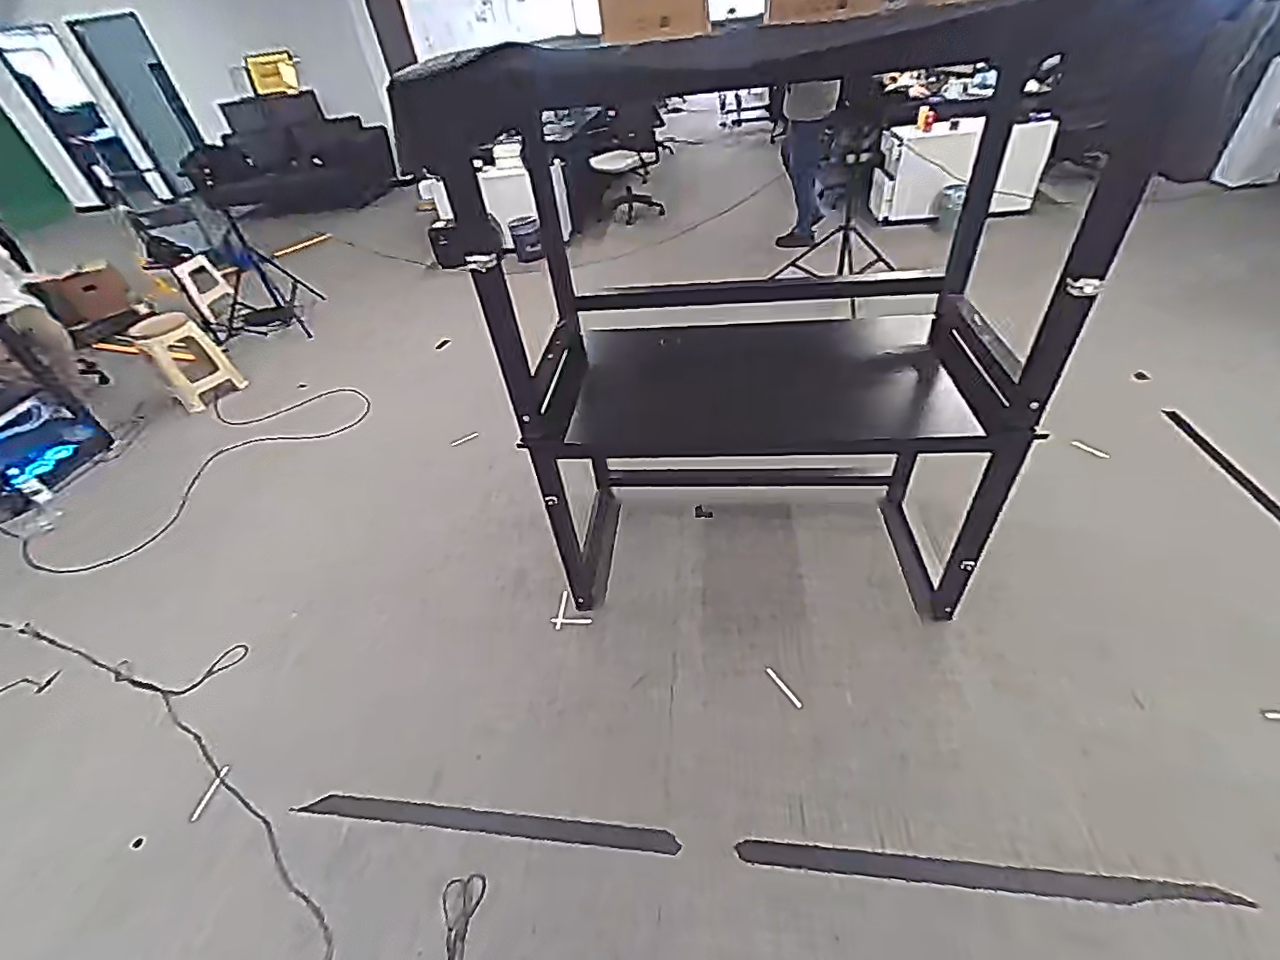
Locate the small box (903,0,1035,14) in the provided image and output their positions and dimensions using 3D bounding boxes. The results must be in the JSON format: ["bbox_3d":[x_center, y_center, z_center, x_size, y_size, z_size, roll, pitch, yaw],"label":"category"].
[{"bbox_3d":[0.498,-0.795,0.784,0.168,0.176,0.179,0,41,10],"label":"small box"}]

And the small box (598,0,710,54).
[{"bbox_3d":[0.024,-0.805,0.873,0.168,0.176,0.179,2,40,10],"label":"small box"}]
